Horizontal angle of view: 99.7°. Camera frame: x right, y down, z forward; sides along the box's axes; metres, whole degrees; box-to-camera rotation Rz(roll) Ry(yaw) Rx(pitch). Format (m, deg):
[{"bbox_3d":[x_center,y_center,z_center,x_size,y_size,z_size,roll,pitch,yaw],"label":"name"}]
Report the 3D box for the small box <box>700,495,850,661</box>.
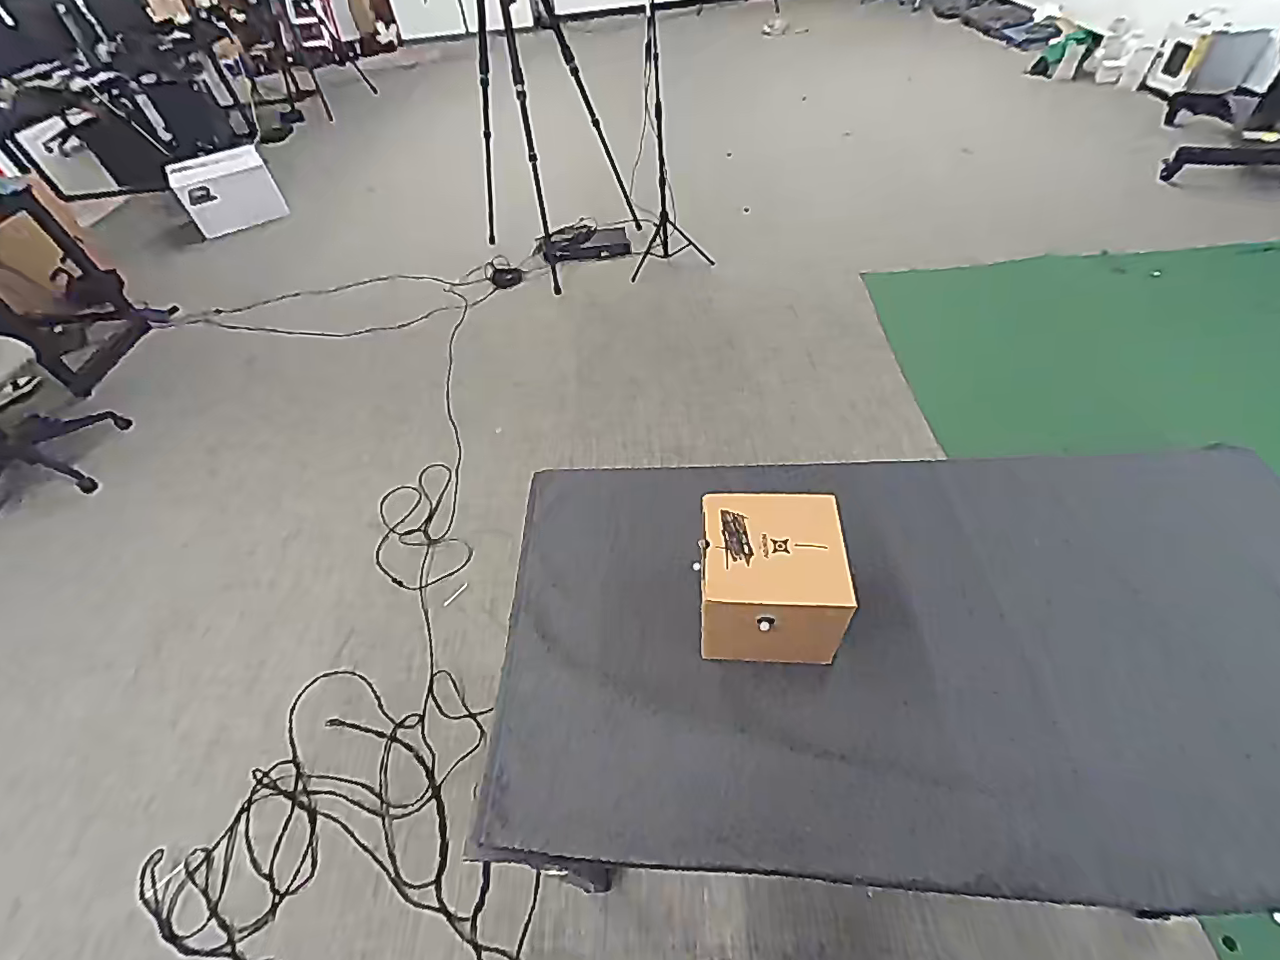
[{"bbox_3d":[0.171,0.137,0.747,0.179,0.176,0.168,1,49,6],"label":"small box"}]
